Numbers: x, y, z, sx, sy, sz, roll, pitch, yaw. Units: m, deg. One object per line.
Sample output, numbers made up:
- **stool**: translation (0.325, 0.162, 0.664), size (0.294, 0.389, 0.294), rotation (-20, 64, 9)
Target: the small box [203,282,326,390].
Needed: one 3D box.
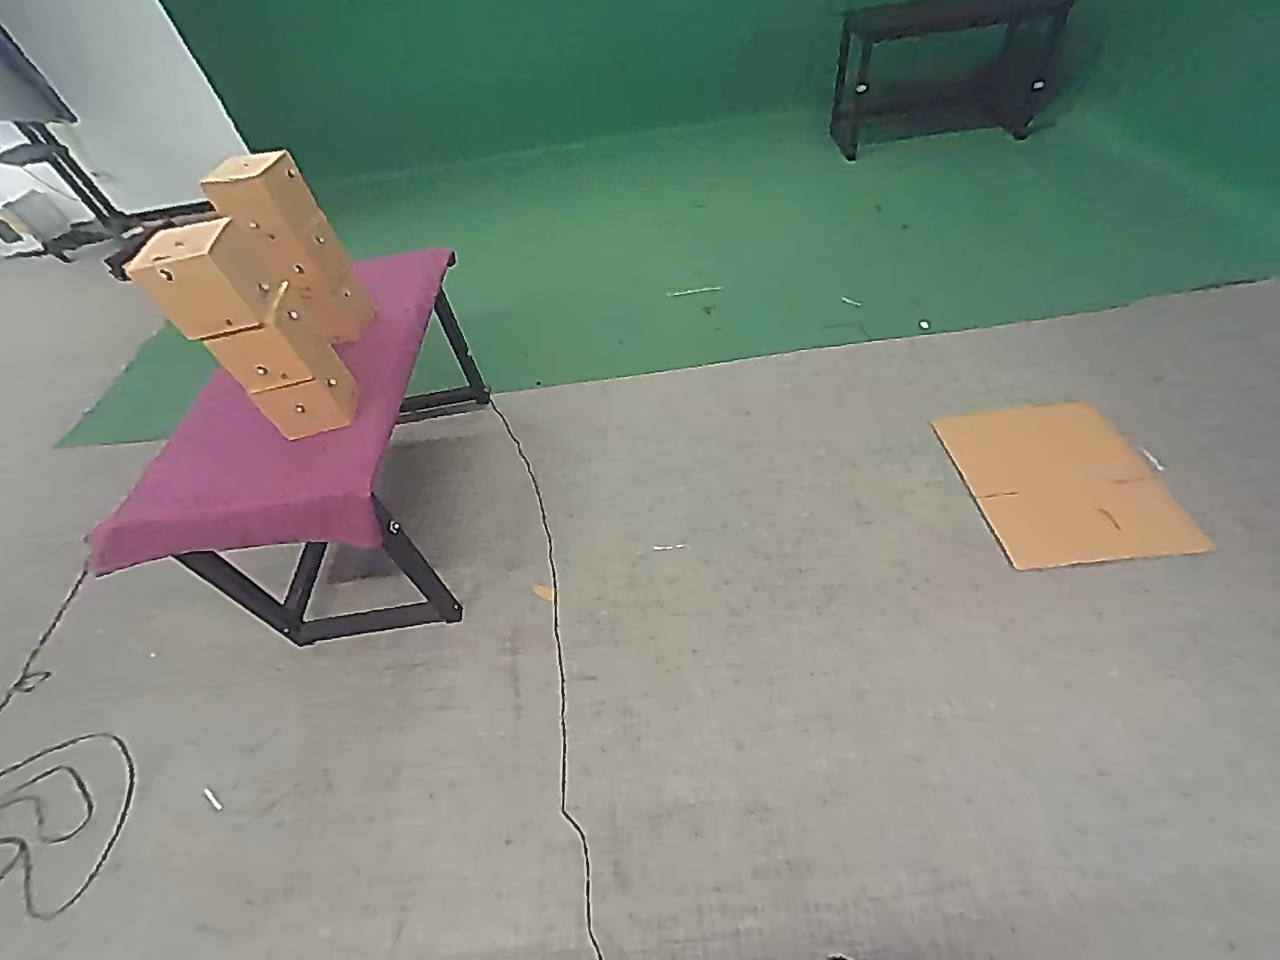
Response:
- **small box**: translation (-0.892, -0.345, 1.304), size (0.168, 0.176, 0.179), rotation (-14, 50, -1)

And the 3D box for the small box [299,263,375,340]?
- **small box**: translation (-0.974, -0.558, 1.709), size (0.168, 0.176, 0.179), rotation (-3, 49, 7)

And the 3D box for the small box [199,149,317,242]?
- **small box**: translation (-1.014, -0.764, 1.458), size (0.168, 0.176, 0.179), rotation (-4, 50, 6)

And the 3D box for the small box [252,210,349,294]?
- **small box**: translation (-0.991, -0.660, 1.584), size (0.168, 0.176, 0.179), rotation (-3, 50, 6)

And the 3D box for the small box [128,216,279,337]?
- **small box**: translation (-0.928, -0.438, 1.173), size (0.168, 0.176, 0.179), rotation (-13, 50, 0)
